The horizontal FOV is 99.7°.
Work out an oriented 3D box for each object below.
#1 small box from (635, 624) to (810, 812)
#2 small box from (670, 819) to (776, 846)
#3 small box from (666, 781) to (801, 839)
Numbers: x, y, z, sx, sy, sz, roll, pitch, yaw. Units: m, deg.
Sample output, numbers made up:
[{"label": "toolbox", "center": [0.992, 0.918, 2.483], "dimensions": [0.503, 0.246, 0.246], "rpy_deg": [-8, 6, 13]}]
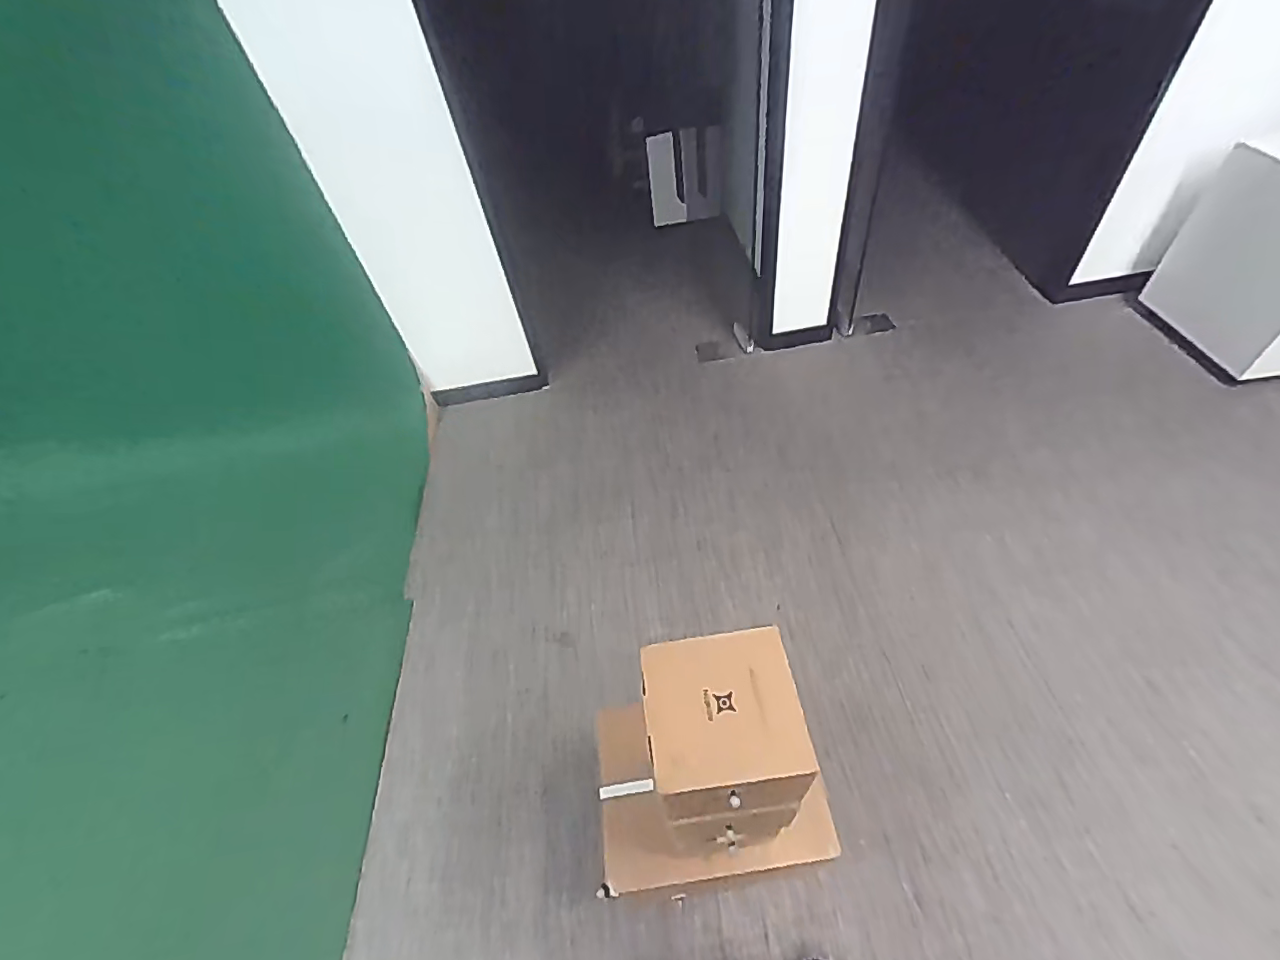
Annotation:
[{"label": "small box", "center": [0.096, 0.303, 0.679], "dimensions": [0.179, 0.176, 0.168], "rpy_deg": [-9, 50, 1]}, {"label": "small box", "center": [0.127, 0.512, 0.927], "dimensions": [0.168, 0.176, 0.179], "rpy_deg": [-11, 50, 0]}, {"label": "small box", "center": [0.116, 0.411, 0.798], "dimensions": [0.179, 0.176, 0.168], "rpy_deg": [-11, 50, -1]}]
